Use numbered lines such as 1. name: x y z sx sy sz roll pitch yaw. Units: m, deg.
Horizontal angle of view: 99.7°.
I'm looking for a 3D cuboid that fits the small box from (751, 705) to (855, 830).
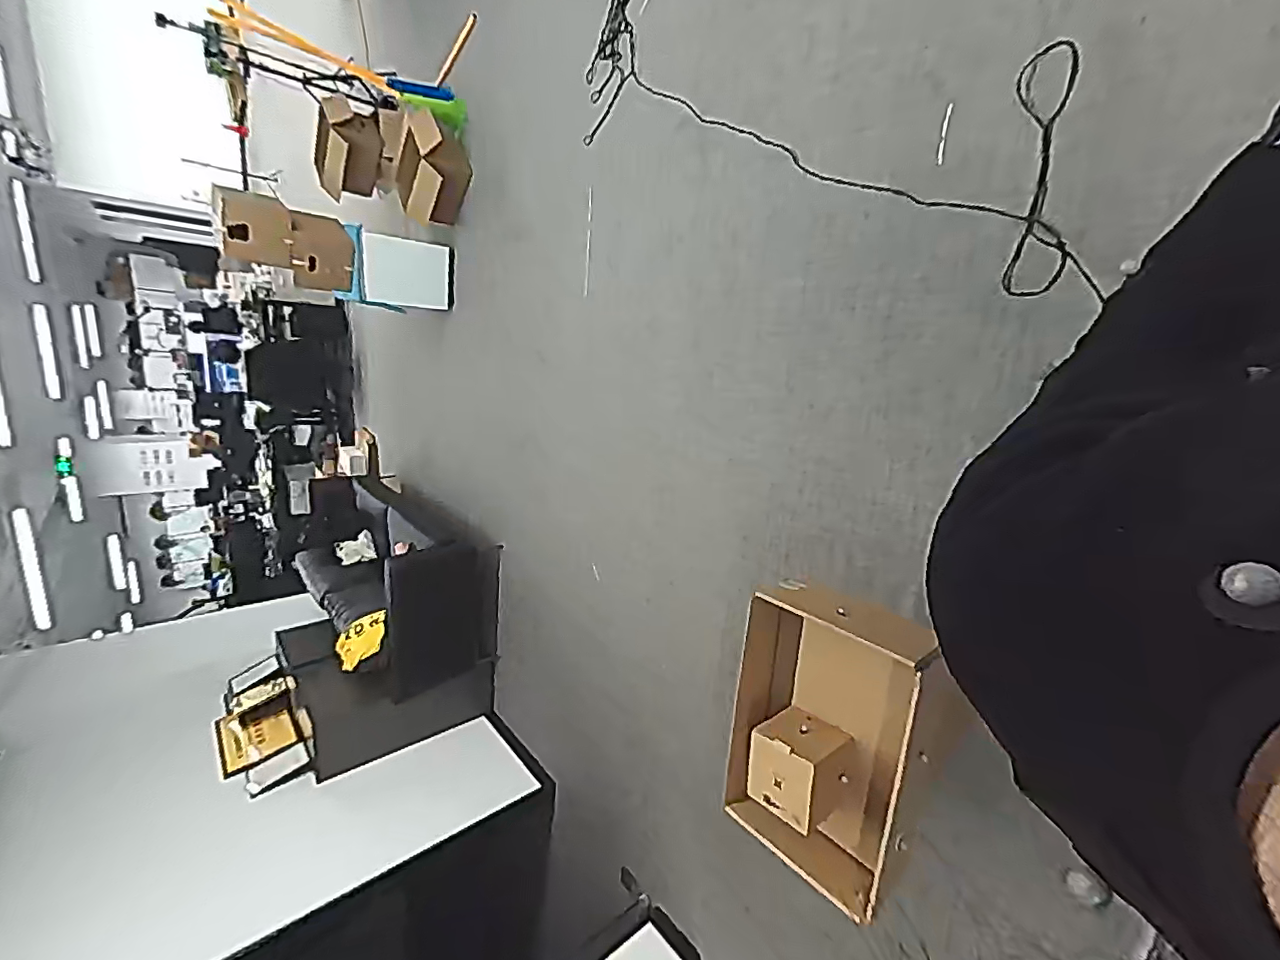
1. small box: 0.387 0.663 1.276 0.168 0.176 0.179 13 103 48
